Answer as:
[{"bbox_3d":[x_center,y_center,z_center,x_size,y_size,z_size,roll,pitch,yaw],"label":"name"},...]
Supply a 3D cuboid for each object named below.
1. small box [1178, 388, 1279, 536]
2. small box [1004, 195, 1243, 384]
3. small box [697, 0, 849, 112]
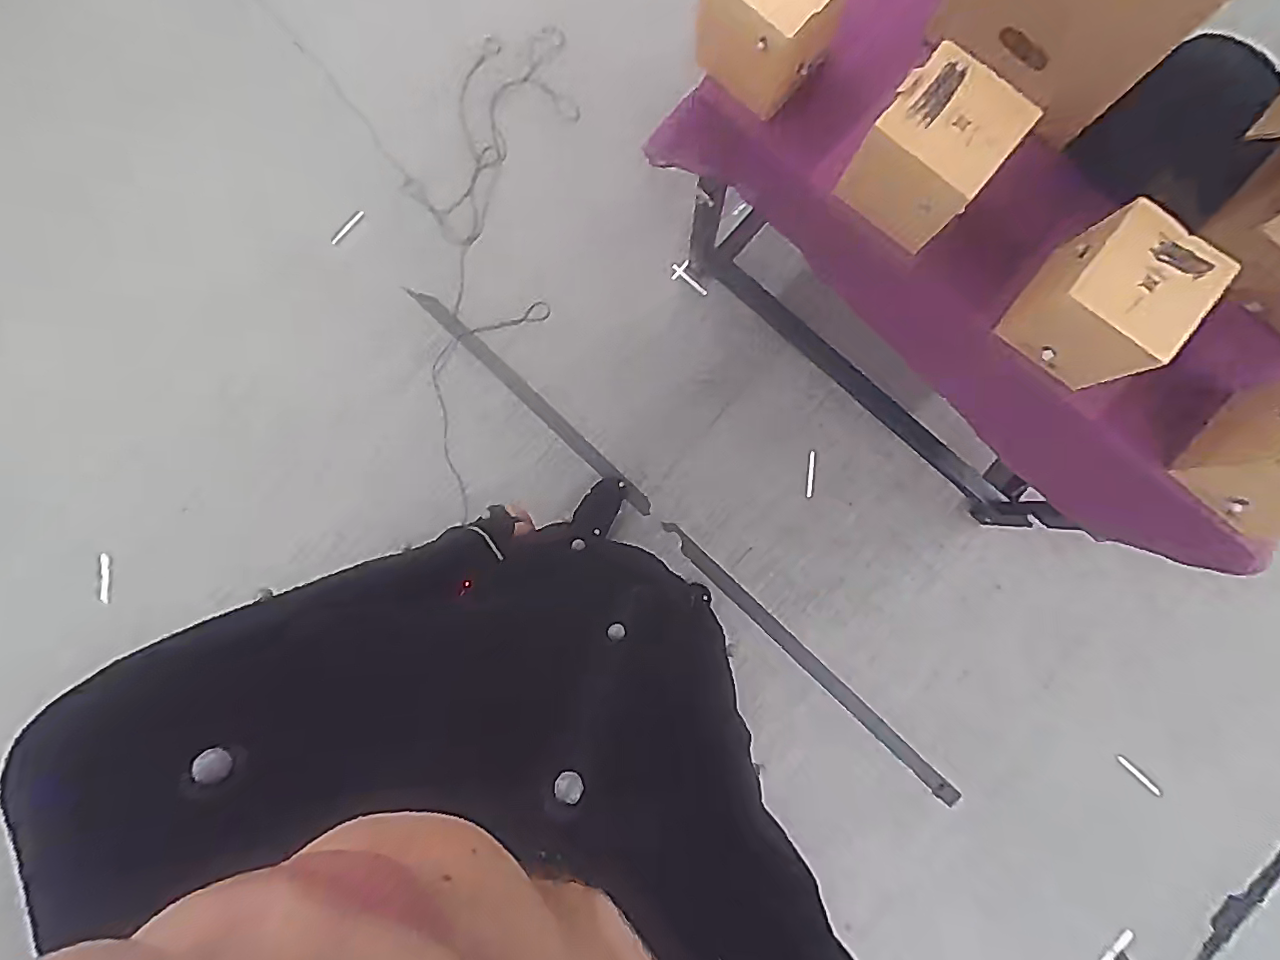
[{"bbox_3d":[0.973,-0.032,0.792,0.168,0.176,0.179,43,89,4],"label":"small box"},{"bbox_3d":[0.704,-0.271,0.813,0.168,0.176,0.179,38,90,4],"label":"small box"},{"bbox_3d":[0.207,-0.739,0.851,0.179,0.176,0.168,41,89,2],"label":"small box"}]
